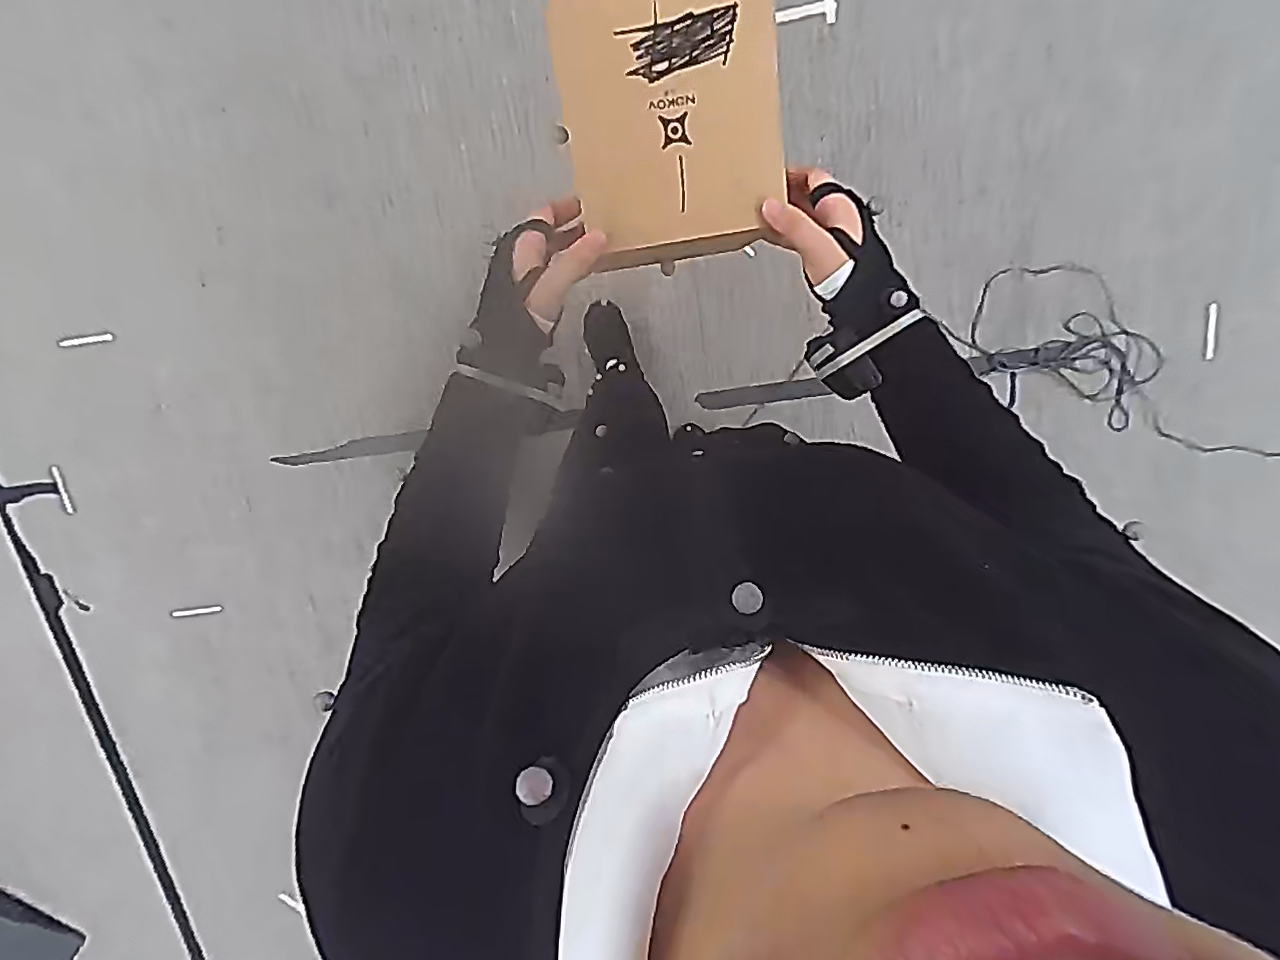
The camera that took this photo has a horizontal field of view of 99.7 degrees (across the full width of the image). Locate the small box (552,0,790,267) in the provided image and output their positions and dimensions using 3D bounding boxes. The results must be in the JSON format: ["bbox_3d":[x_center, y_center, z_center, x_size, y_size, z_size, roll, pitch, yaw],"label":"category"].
[{"bbox_3d":[0.022,-0.302,0.484,0.168,0.176,0.179,-10,107,-1],"label":"small box"}]
